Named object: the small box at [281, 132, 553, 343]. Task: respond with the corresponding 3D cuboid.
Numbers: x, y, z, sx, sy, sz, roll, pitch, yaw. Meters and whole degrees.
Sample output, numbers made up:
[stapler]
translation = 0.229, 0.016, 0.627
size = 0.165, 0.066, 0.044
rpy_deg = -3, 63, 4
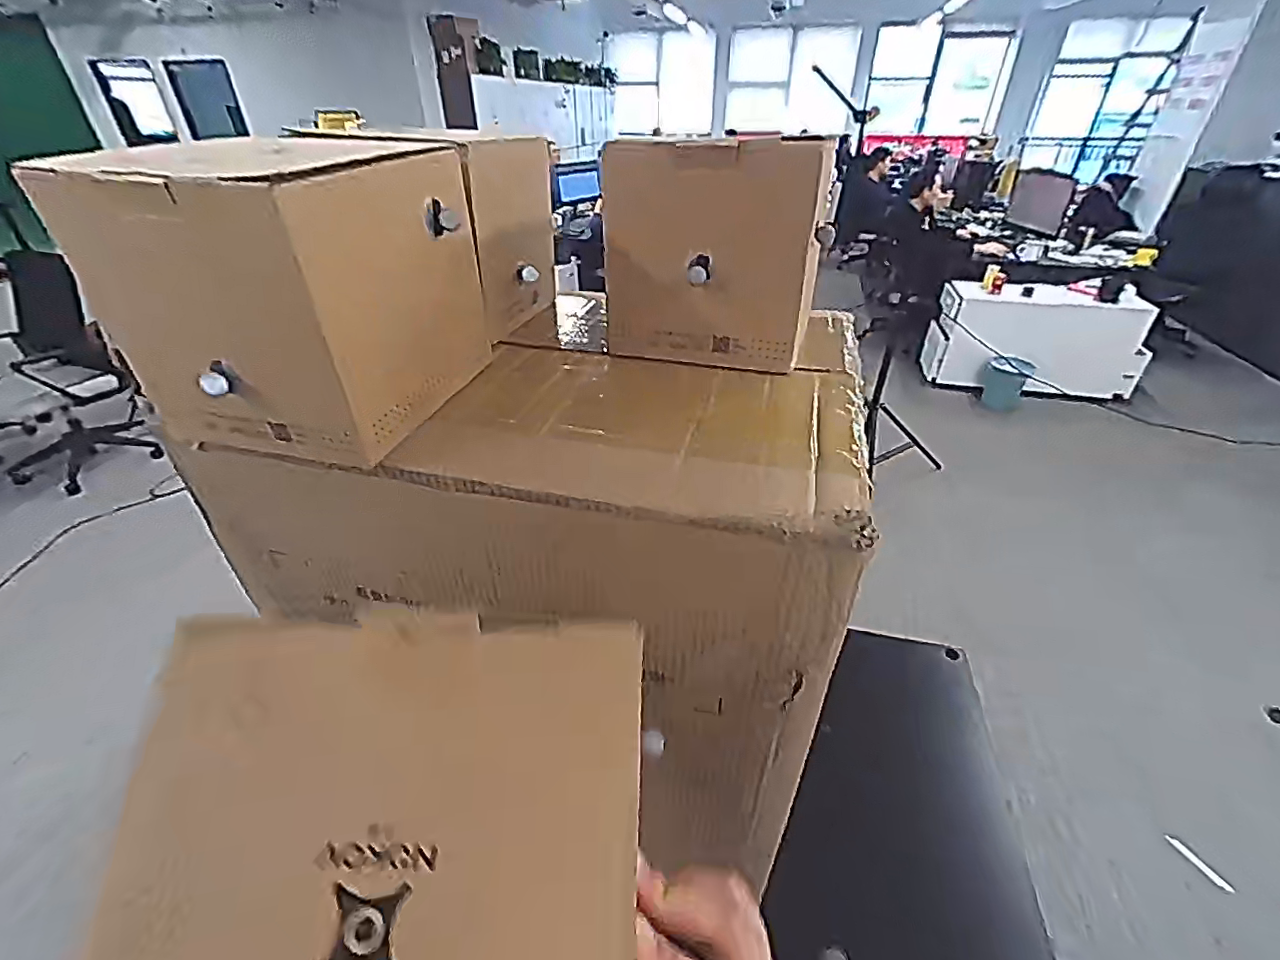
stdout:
[small box]
translation = -0.201, -0.247, 0.543
size = 0.179, 0.176, 0.168
rpy_deg = 9, 35, 12
